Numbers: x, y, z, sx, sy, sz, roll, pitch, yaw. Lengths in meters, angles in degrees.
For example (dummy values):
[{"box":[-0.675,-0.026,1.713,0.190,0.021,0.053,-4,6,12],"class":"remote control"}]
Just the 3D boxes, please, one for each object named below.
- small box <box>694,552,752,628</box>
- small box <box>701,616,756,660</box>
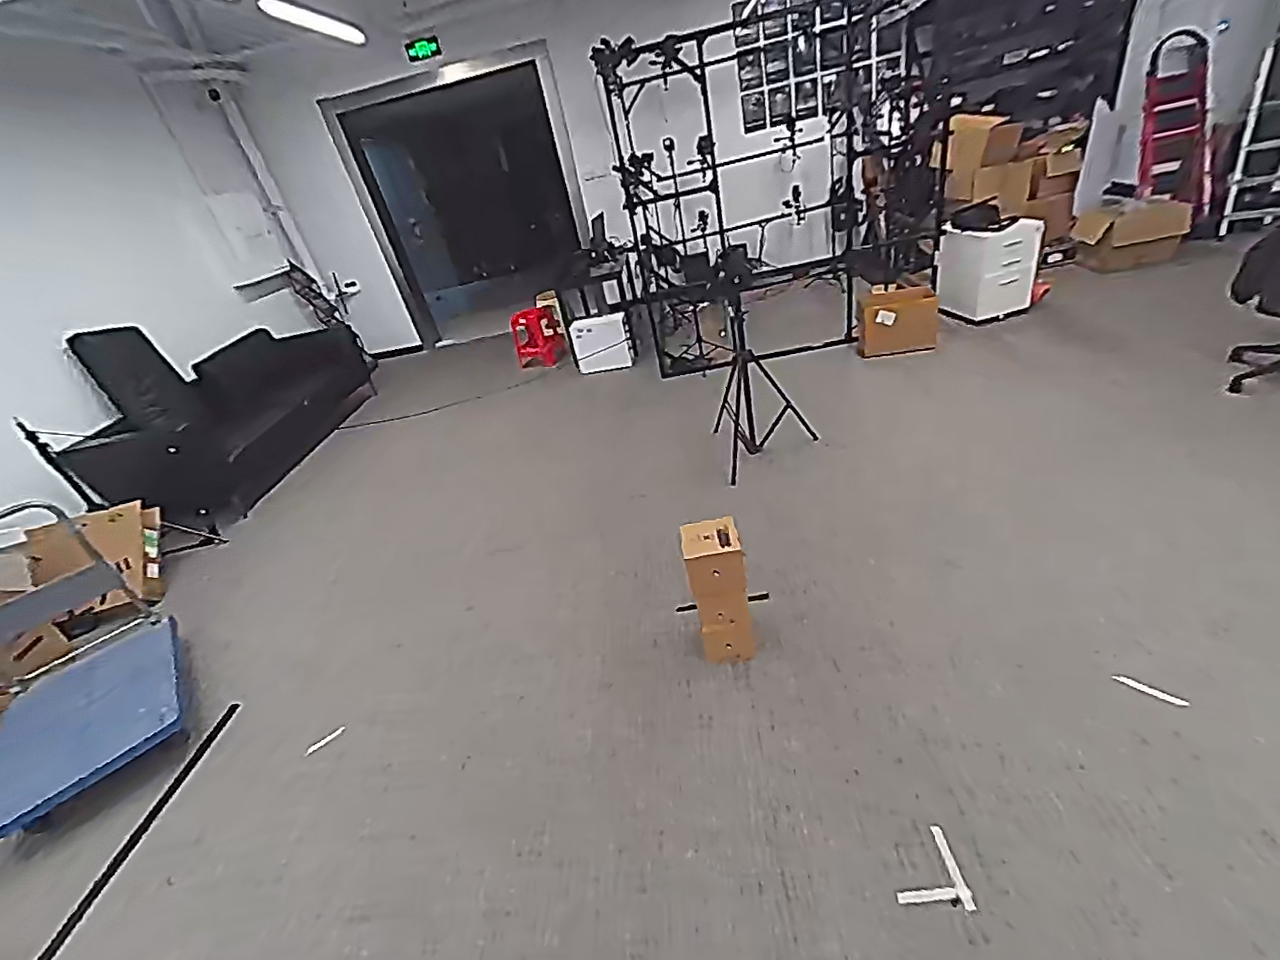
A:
[{"box":[0.276,0.369,1.816,0.168,0.176,0.179,-10,32,8],"class":"small box"},{"box":[0.307,0.509,1.893,0.168,0.176,0.179,-10,31,6],"class":"small box"}]
